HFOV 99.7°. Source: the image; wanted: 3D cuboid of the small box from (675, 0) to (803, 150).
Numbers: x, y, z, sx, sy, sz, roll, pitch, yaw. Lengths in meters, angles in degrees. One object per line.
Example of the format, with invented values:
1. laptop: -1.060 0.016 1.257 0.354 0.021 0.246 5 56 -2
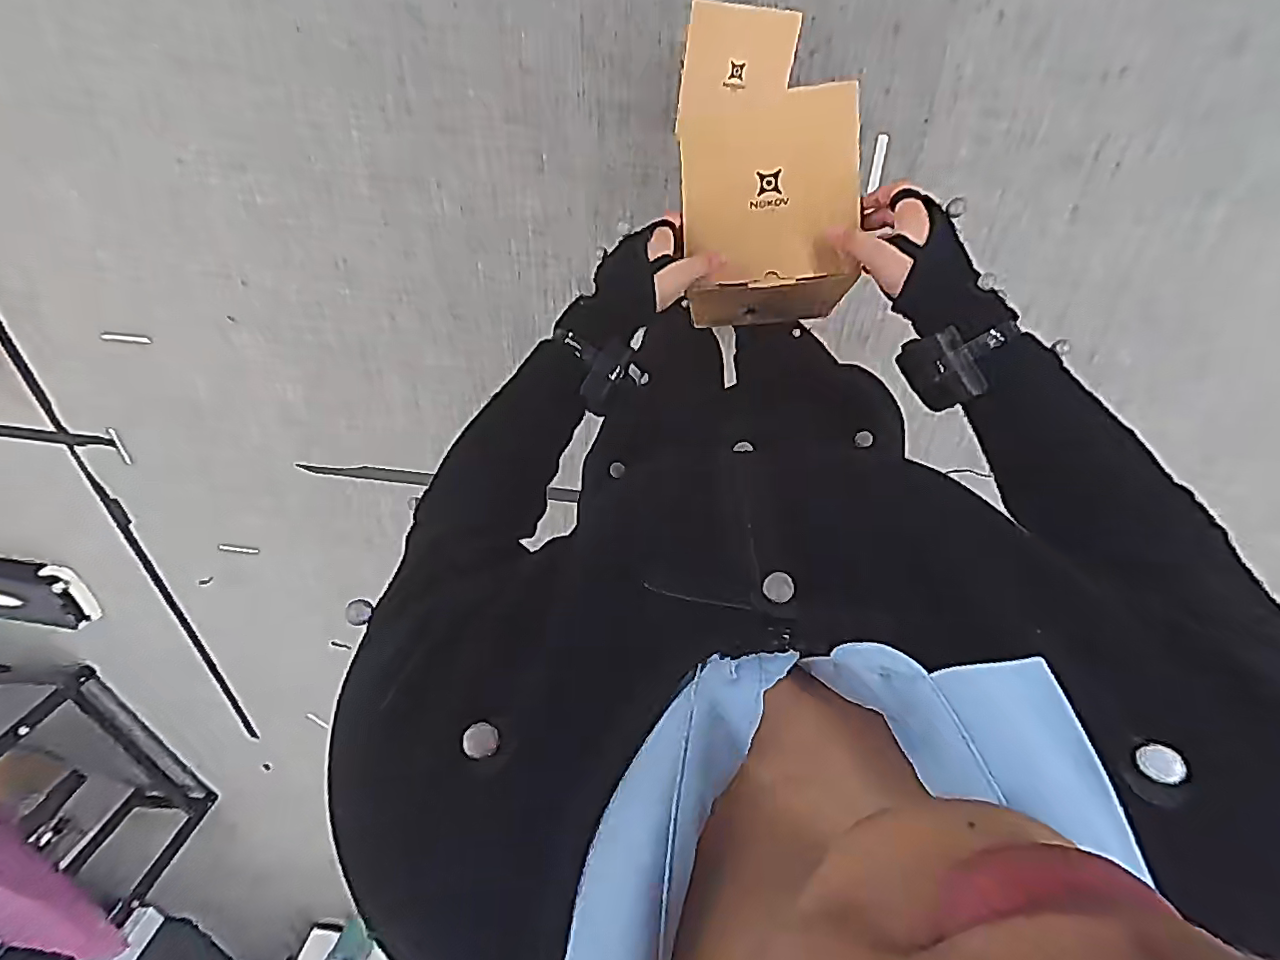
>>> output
1. small box: 0.156 -0.663 0.898 0.168 0.176 0.179 10 124 3
